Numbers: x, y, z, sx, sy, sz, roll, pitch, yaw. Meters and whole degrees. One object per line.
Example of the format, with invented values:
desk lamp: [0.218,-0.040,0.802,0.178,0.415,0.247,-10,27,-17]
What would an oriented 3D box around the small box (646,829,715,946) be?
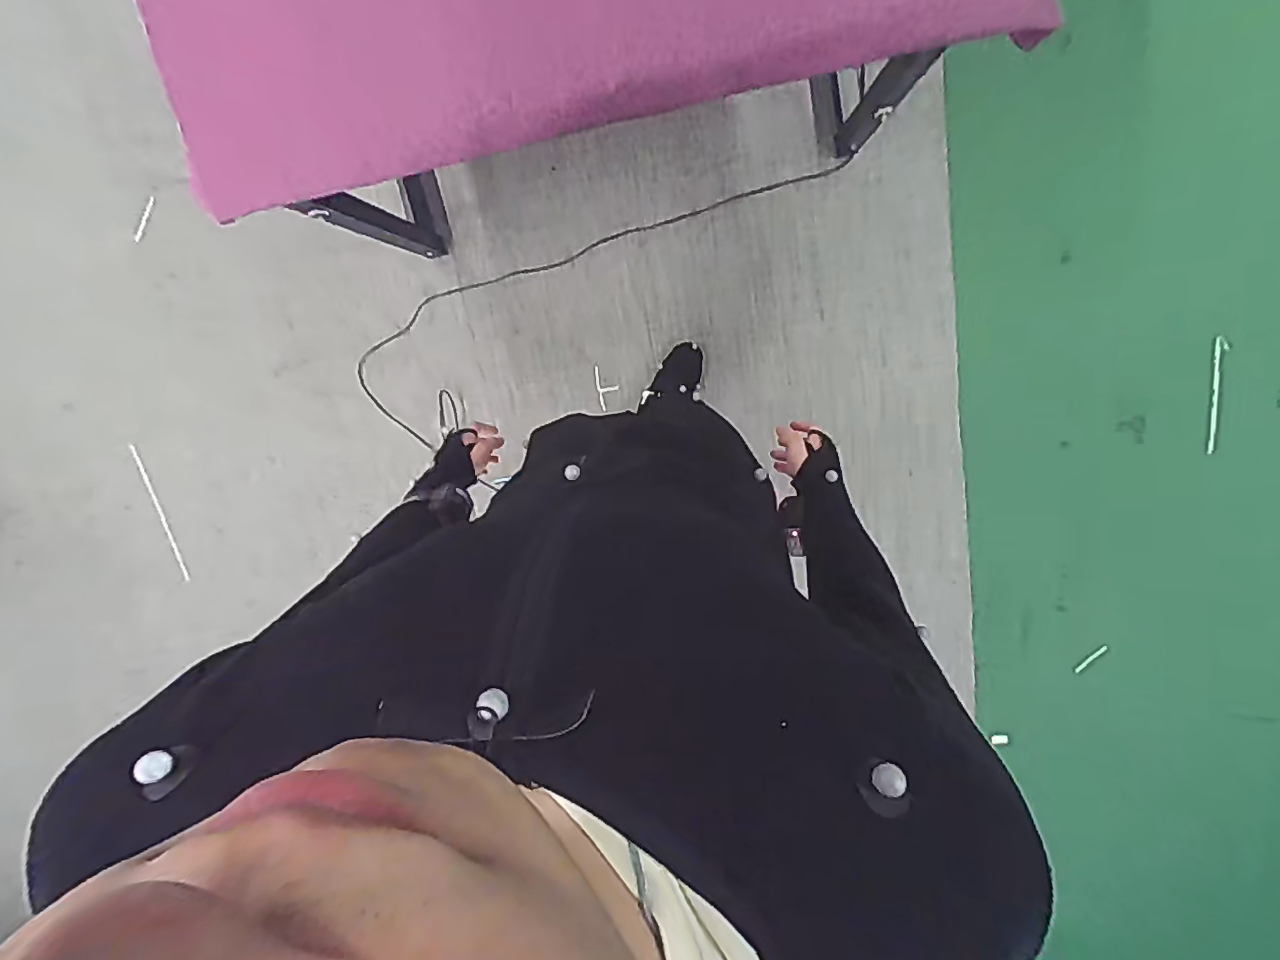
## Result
small box: [0.101,1.011,1.355,0.168,0.176,0.179,-2,103,6]
